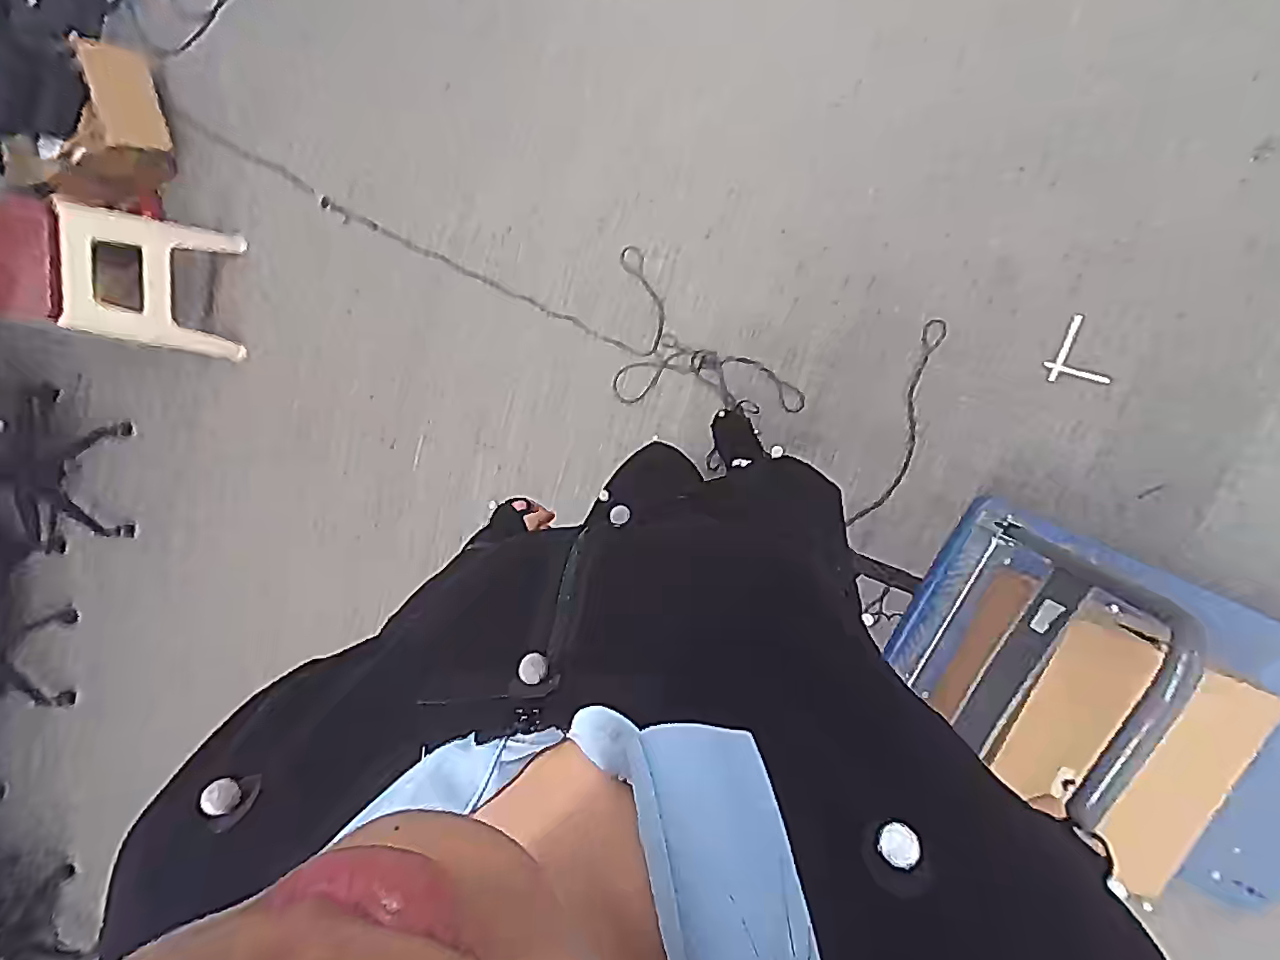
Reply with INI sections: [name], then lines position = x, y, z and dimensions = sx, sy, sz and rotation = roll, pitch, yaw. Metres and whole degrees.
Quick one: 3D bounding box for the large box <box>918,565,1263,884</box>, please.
[large box]
position = 0.808, 0.433, 1.048
dimensions = 0.320, 0.320, 0.408
rotation = 22, 102, 11
